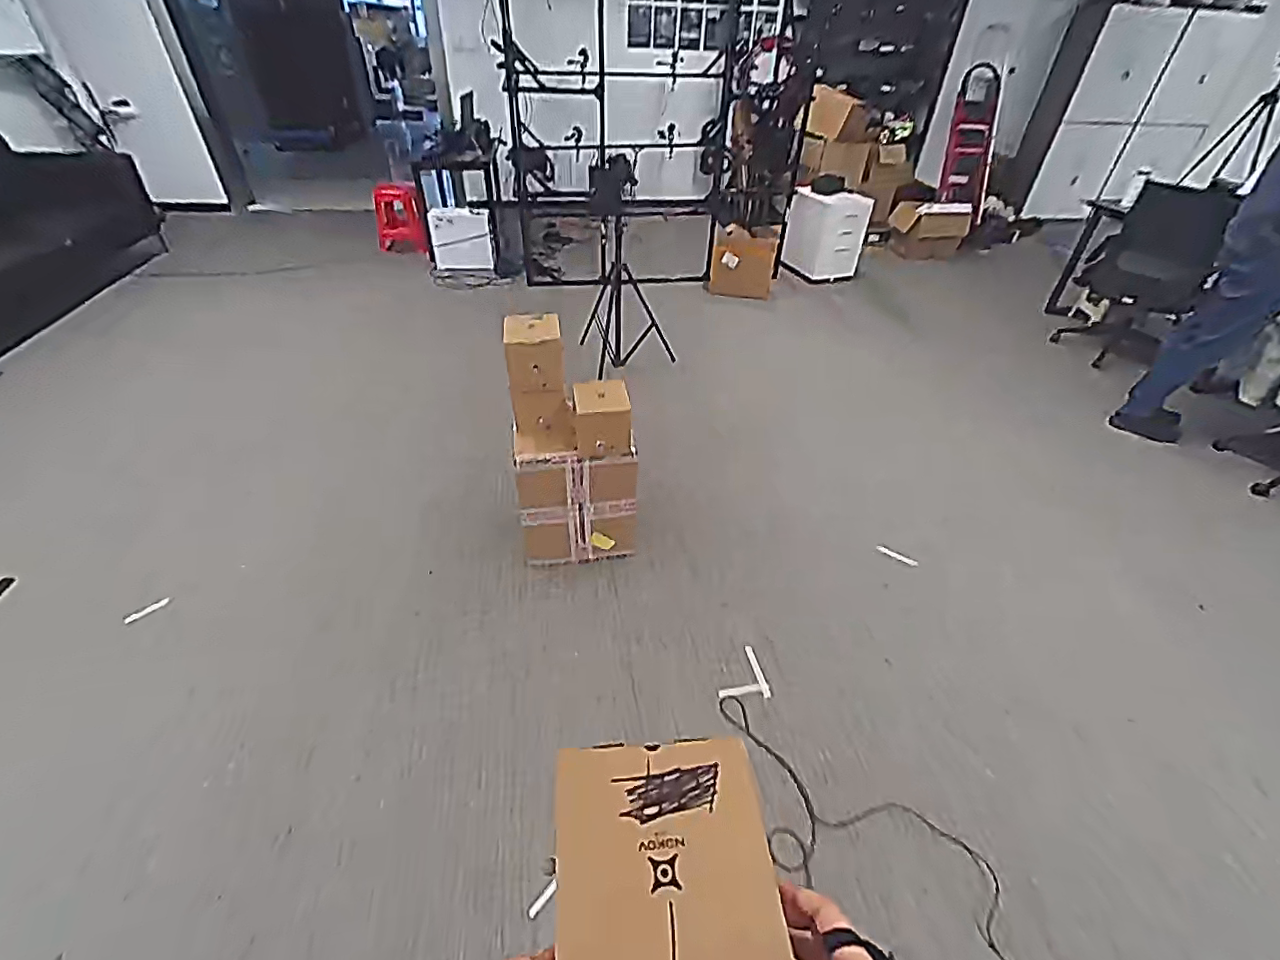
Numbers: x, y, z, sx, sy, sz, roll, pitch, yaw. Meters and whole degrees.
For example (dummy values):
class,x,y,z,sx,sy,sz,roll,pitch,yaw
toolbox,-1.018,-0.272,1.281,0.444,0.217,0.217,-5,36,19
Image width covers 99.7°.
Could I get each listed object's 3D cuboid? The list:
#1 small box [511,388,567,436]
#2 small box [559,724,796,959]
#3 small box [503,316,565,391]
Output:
class,x,y,z,sx,sy,sz,roll,pitch,yaw
small box,-0.335,-0.267,1.788,0.168,0.176,0.179,-8,42,-8
small box,0.015,0.341,0.475,0.168,0.176,0.179,-2,43,-6
small box,-0.327,-0.386,1.673,0.168,0.176,0.179,-6,43,-8
